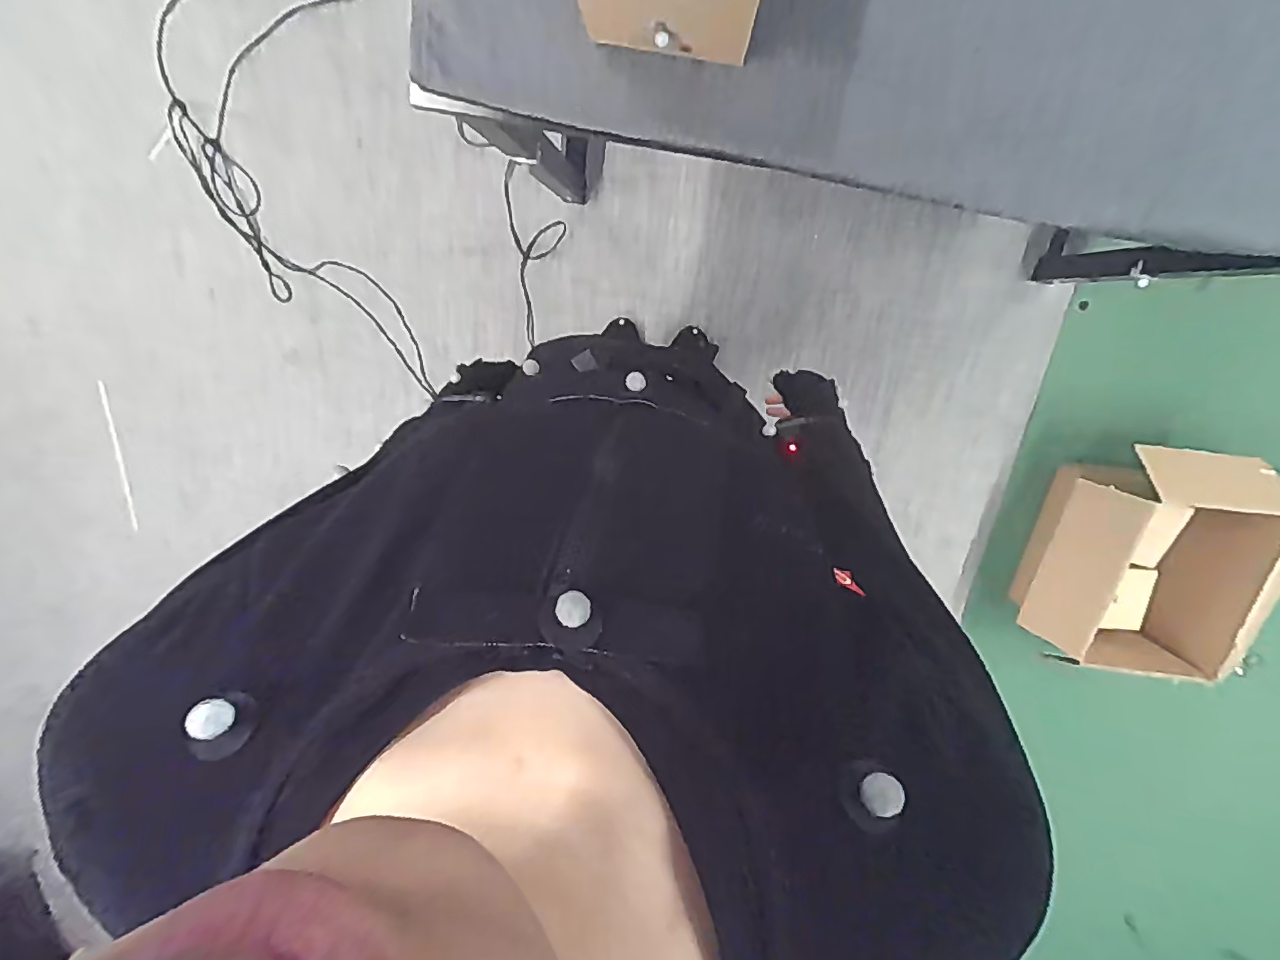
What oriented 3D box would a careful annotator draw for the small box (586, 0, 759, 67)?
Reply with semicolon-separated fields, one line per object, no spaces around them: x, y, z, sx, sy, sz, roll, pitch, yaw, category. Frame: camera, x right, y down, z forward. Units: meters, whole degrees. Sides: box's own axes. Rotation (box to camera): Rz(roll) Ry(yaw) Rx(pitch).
0.036;-0.511;0.474;0.168;0.176;0.179;10;108;1;small box
